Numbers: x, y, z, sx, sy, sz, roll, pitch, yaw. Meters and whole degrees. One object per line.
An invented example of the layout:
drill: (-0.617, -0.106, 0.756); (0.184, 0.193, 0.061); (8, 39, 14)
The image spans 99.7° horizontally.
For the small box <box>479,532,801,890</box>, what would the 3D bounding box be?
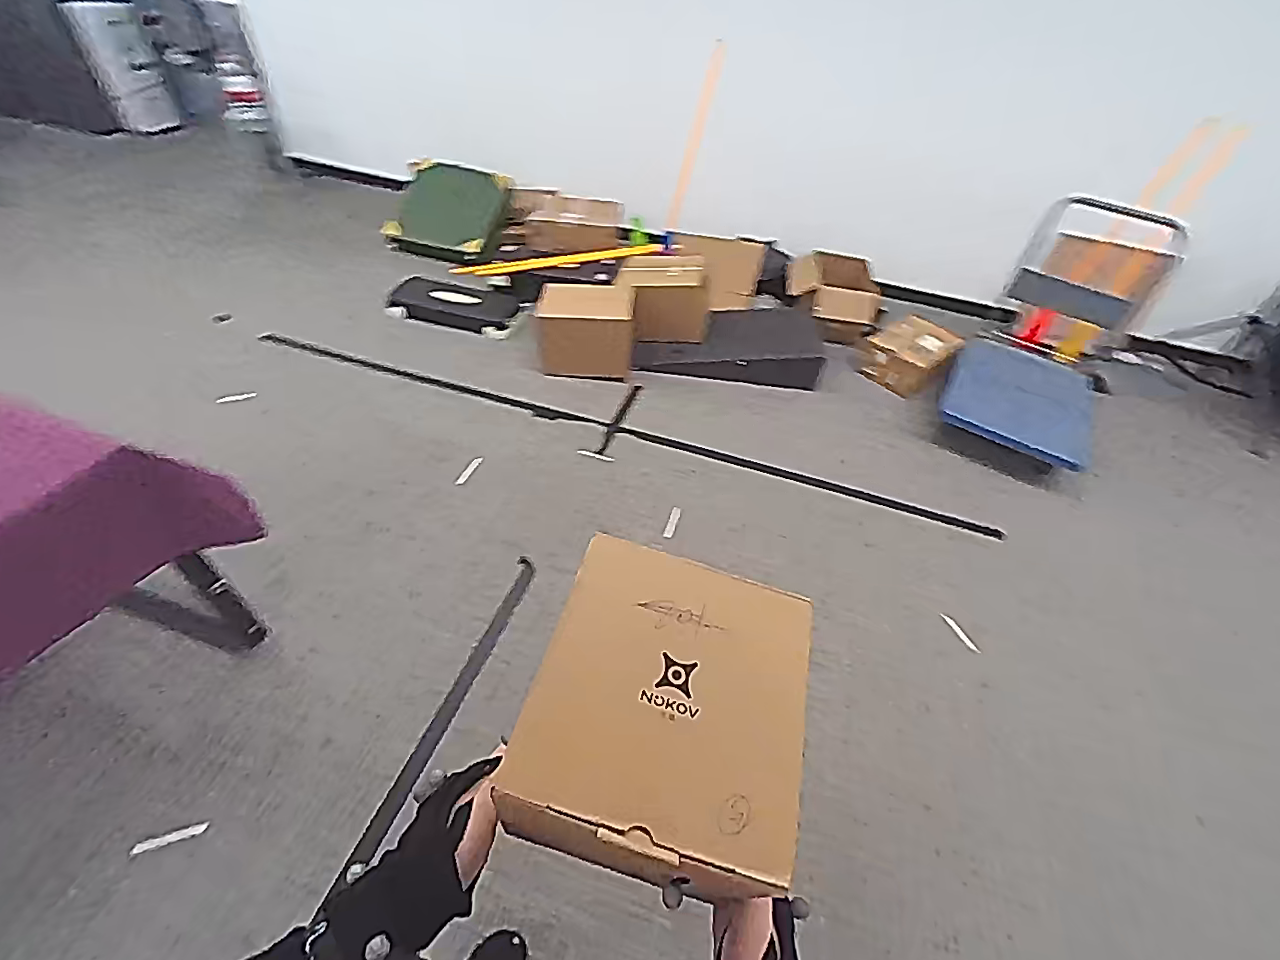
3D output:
small box: (0.003, 0.172, 0.395); (0.168, 0.176, 0.179); (17, 50, 3)
